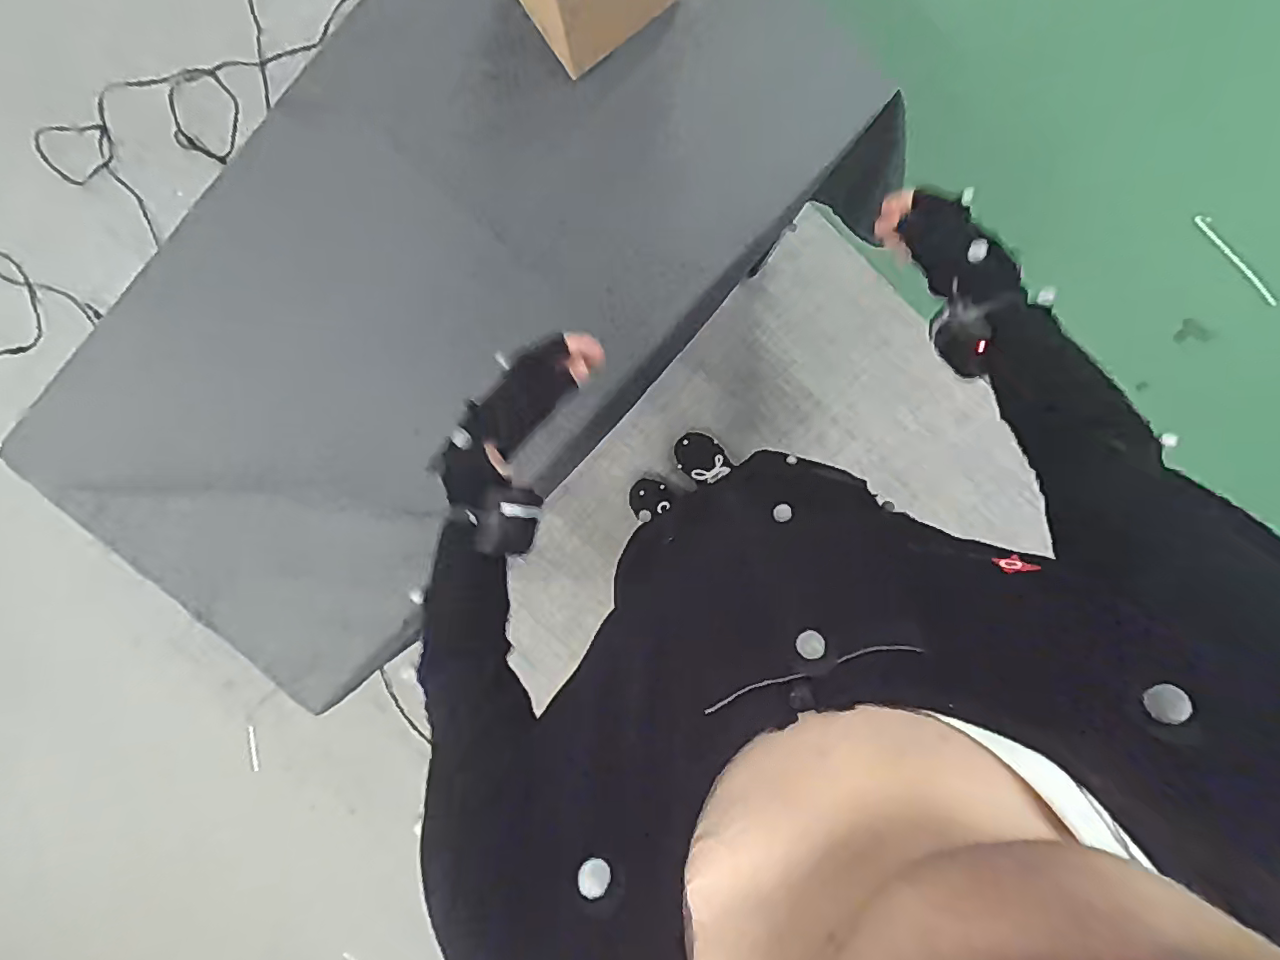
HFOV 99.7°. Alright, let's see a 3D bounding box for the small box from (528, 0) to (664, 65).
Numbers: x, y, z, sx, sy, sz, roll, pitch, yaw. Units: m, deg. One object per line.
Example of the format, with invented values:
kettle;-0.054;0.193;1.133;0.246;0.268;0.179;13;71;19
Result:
small box;-0.068;-0.640;0.619;0.179;0.176;0.168;-35;94;4
